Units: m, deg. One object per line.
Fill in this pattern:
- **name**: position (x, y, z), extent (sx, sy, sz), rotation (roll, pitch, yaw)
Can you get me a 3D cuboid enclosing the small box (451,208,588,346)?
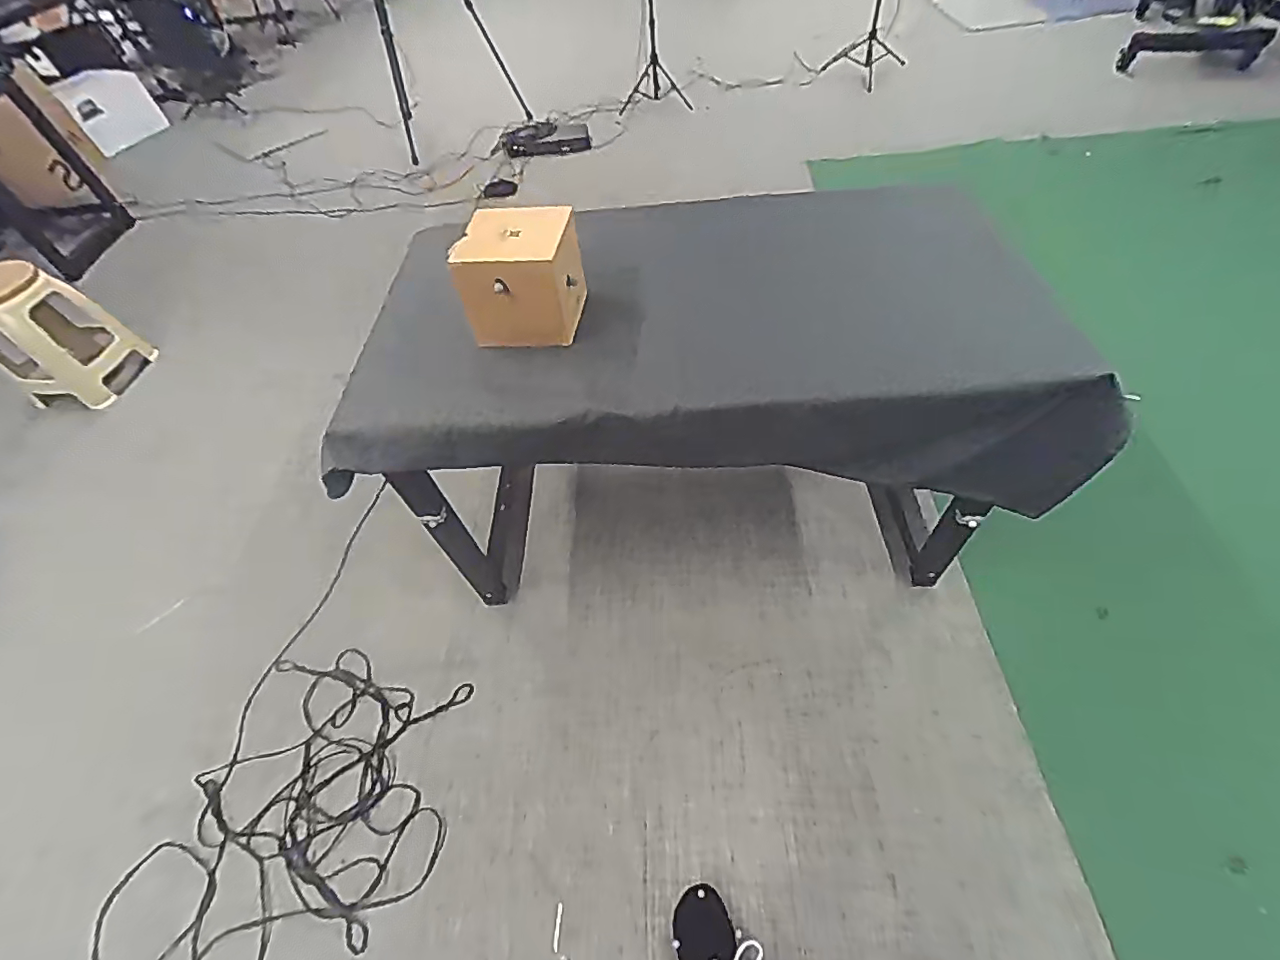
- **small box**: position (-0.195, -0.350, 0.943), extent (0.179, 0.176, 0.168), rotation (3, 53, 8)
